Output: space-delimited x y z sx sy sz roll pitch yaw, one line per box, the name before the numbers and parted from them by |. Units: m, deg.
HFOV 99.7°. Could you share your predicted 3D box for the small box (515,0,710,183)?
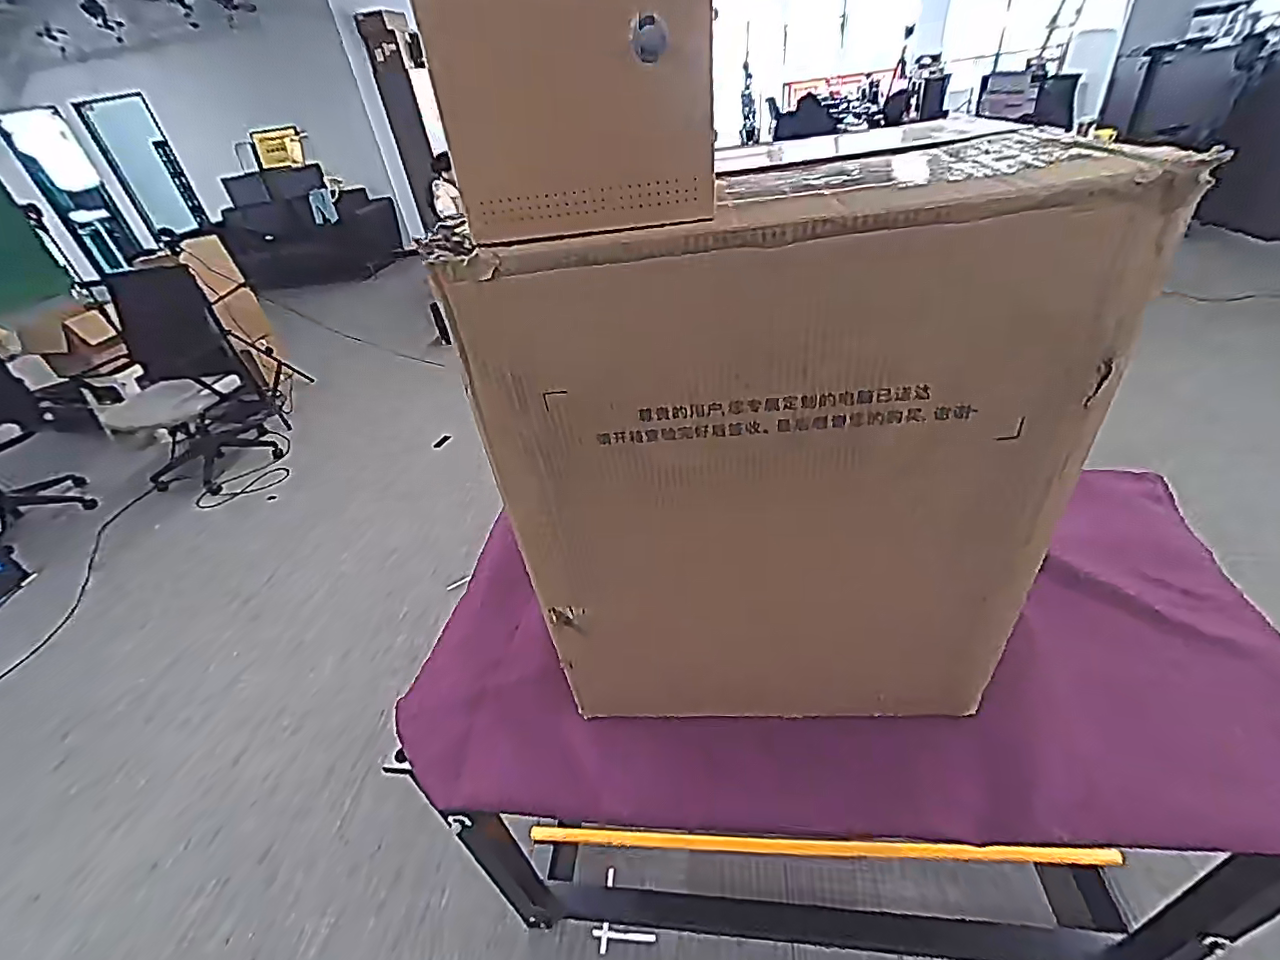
small box | -0.012 -0.422 0.573 0.168 0.176 0.179 0 36 9
